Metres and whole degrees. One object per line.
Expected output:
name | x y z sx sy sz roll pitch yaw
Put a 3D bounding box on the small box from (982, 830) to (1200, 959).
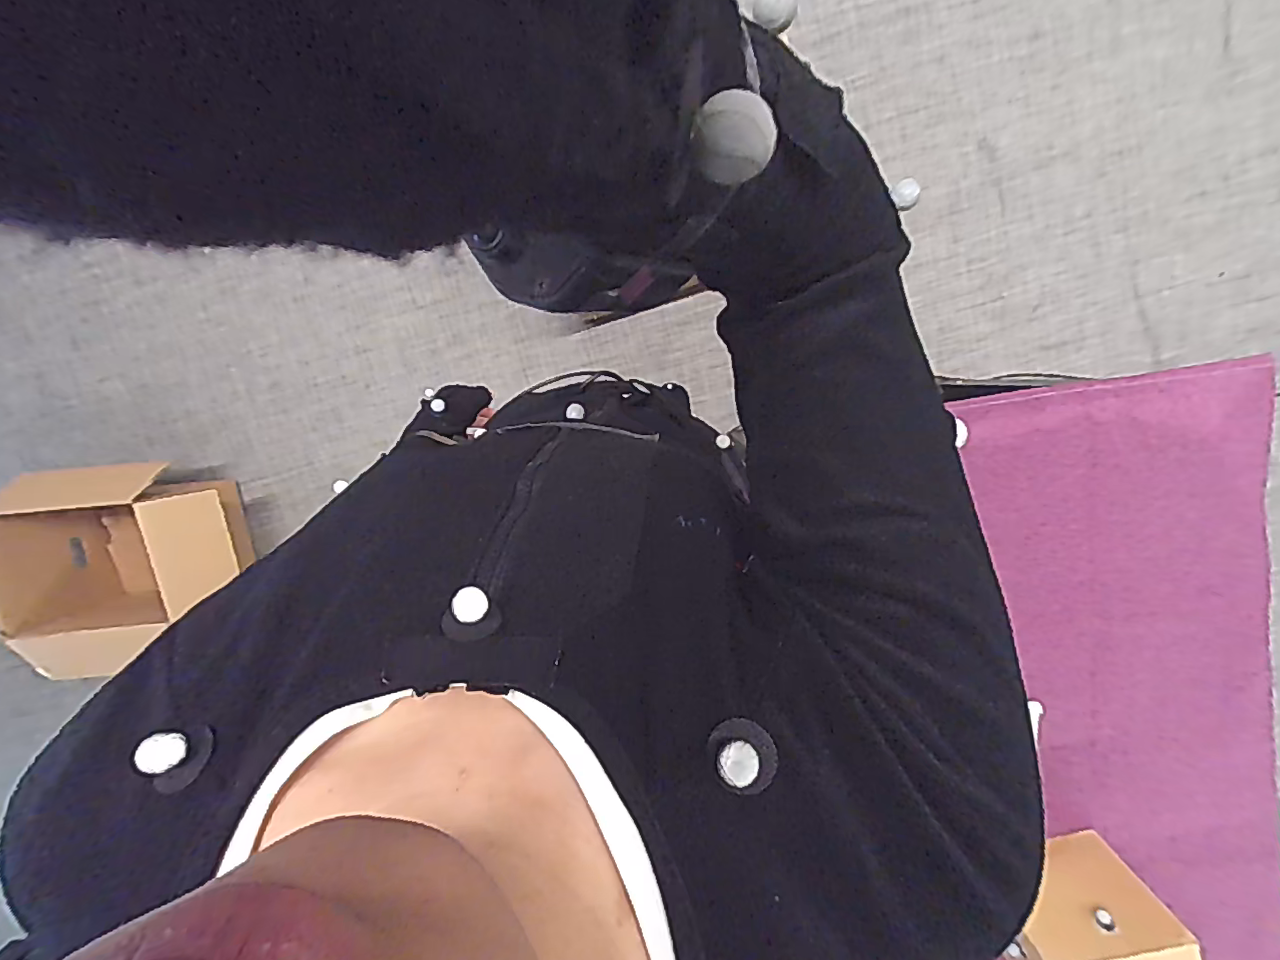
small box | 0.602 0.625 0.738 0.179 0.176 0.168 -16 99 4
